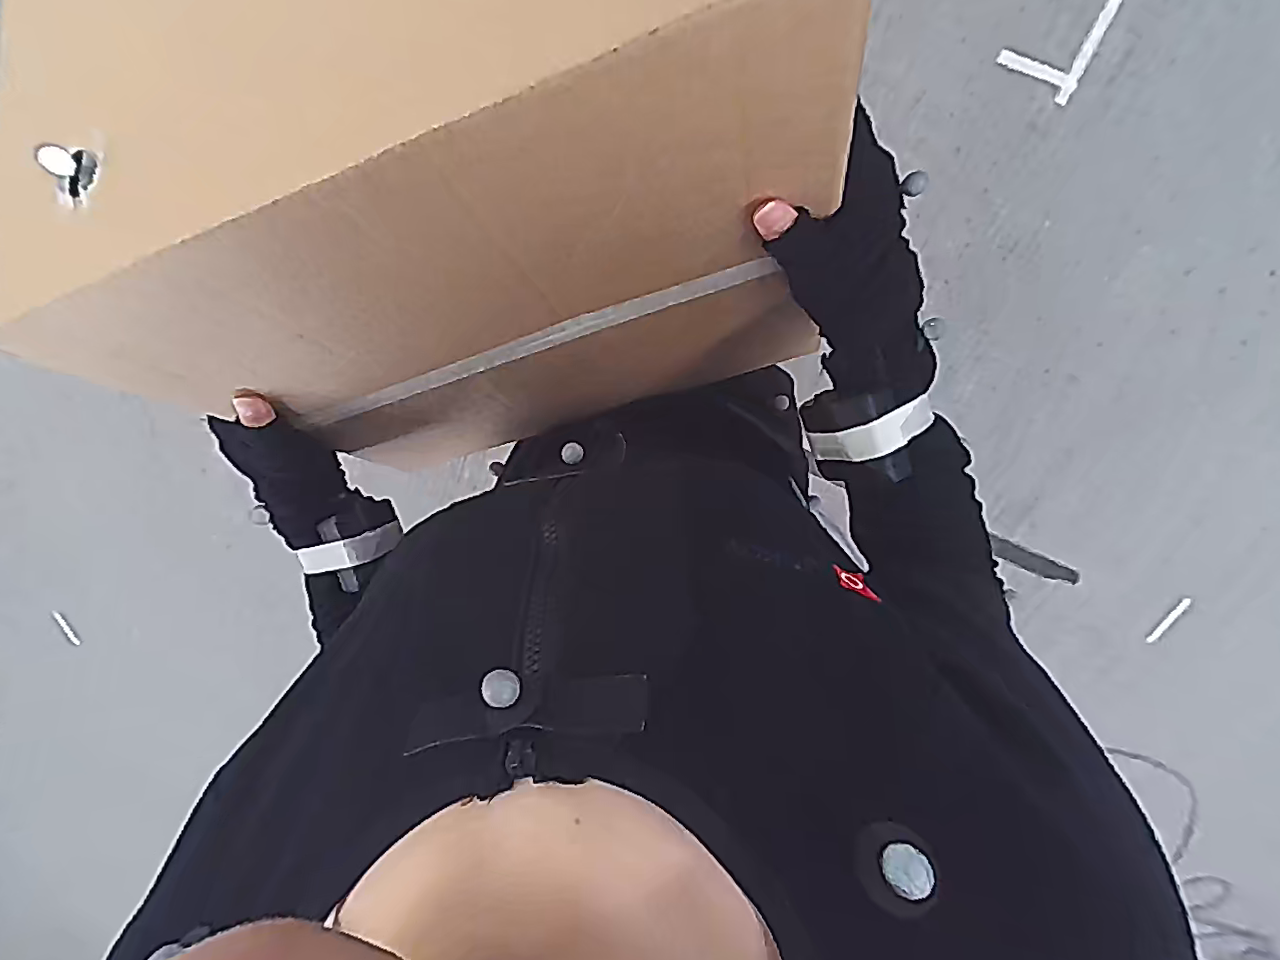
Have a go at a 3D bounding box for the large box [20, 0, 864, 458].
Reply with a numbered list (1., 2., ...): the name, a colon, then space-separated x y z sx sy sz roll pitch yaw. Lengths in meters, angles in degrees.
1. large box: -0.103 -0.242 0.395 0.408 0.320 0.320 -14 77 11
